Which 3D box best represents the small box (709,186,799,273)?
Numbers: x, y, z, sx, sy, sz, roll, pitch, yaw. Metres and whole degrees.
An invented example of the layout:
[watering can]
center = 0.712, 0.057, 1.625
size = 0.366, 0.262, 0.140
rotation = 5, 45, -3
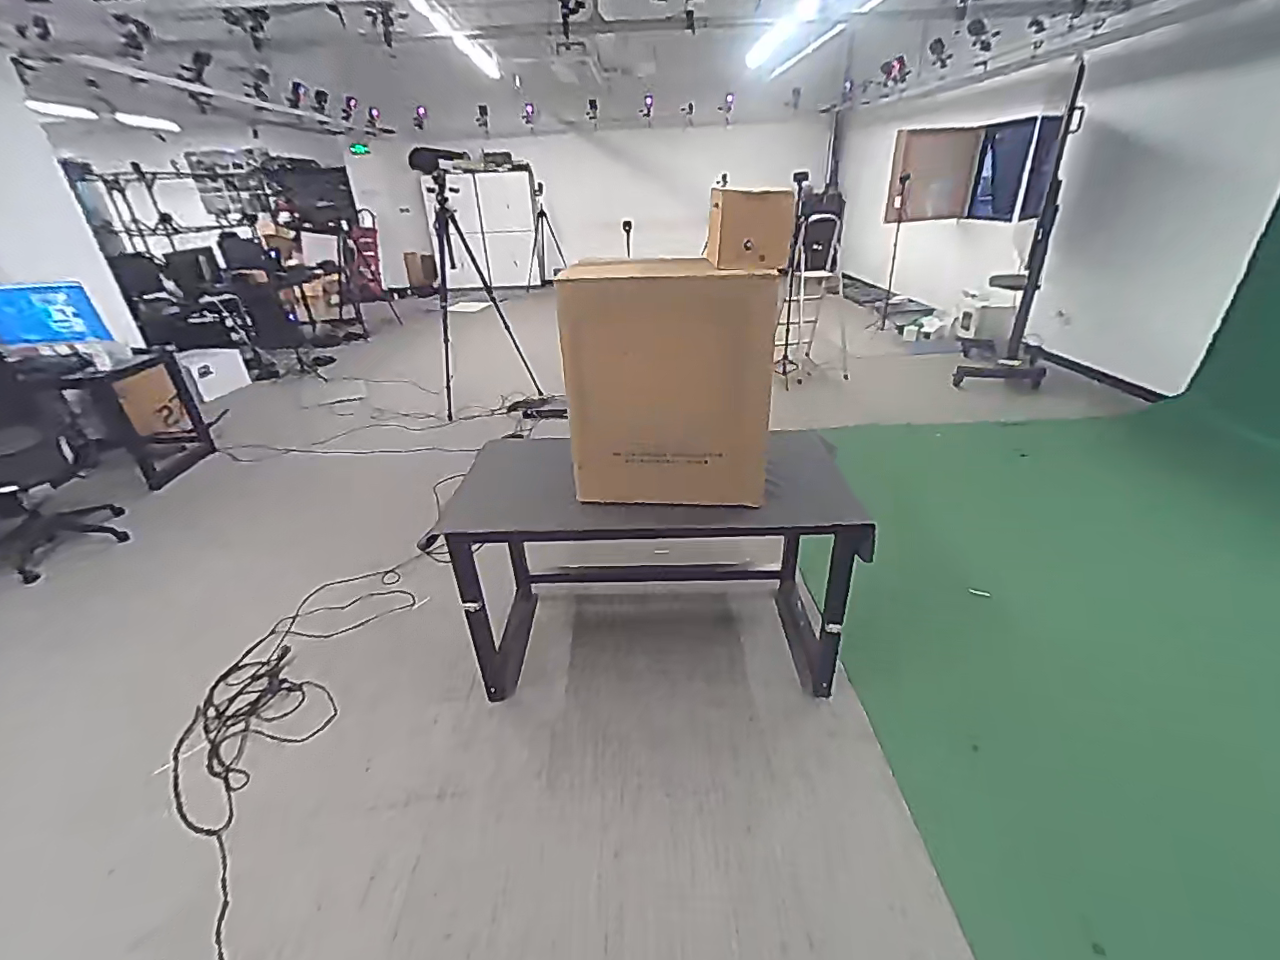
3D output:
[small box]
center = 0.262, -0.601, 1.290
size = 0.168, 0.176, 0.179
rotation = -1, 31, -2
